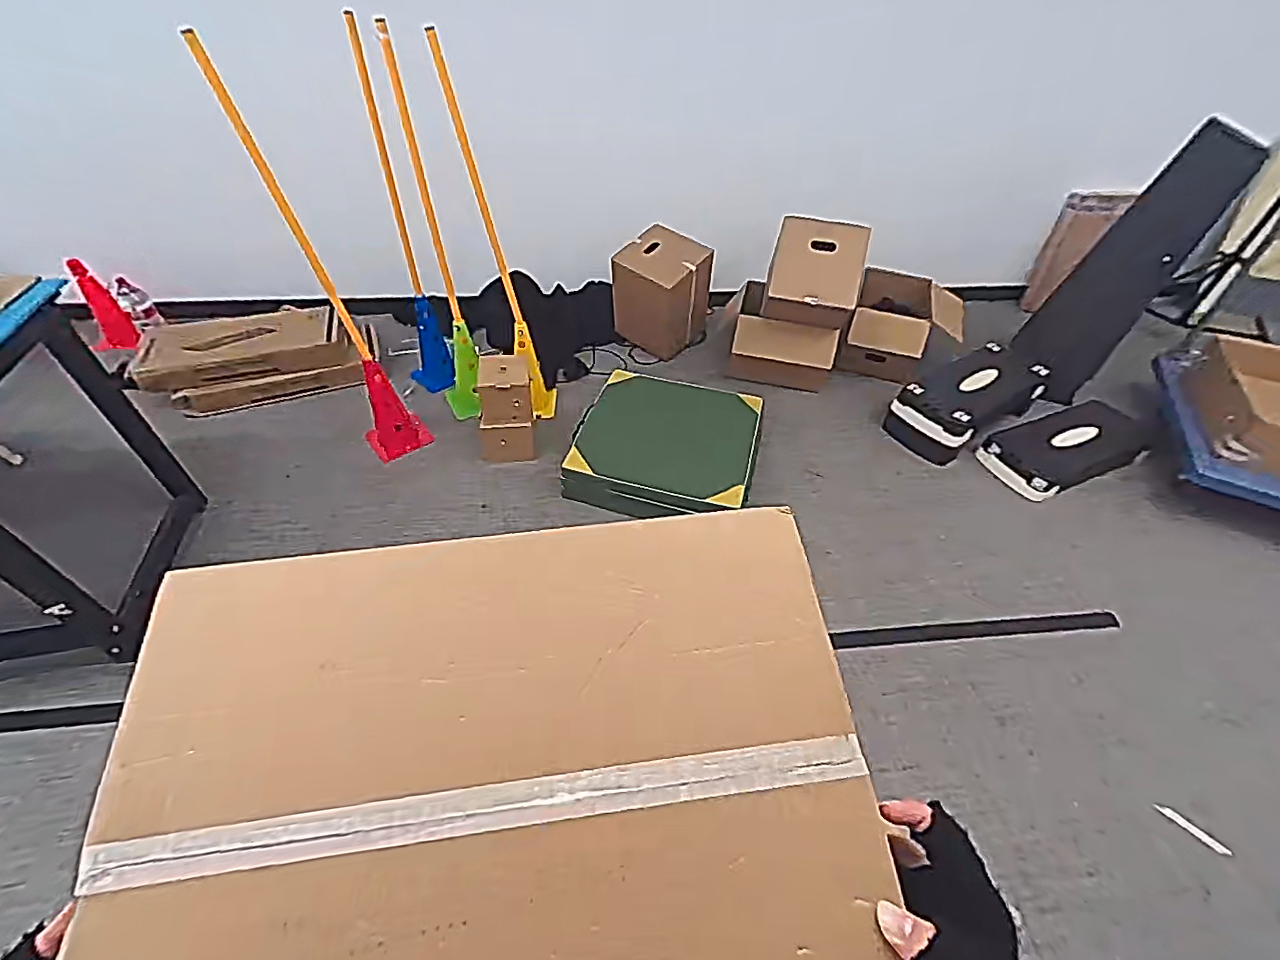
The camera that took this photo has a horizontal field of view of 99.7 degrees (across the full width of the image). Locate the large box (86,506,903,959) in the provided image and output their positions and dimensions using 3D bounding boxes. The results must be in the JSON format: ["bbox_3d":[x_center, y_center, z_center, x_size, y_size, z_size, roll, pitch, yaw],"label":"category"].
[{"bbox_3d":[-0.082,0.243,0.432,0.408,0.320,0.320,-6,63,-4],"label":"large box"}]
